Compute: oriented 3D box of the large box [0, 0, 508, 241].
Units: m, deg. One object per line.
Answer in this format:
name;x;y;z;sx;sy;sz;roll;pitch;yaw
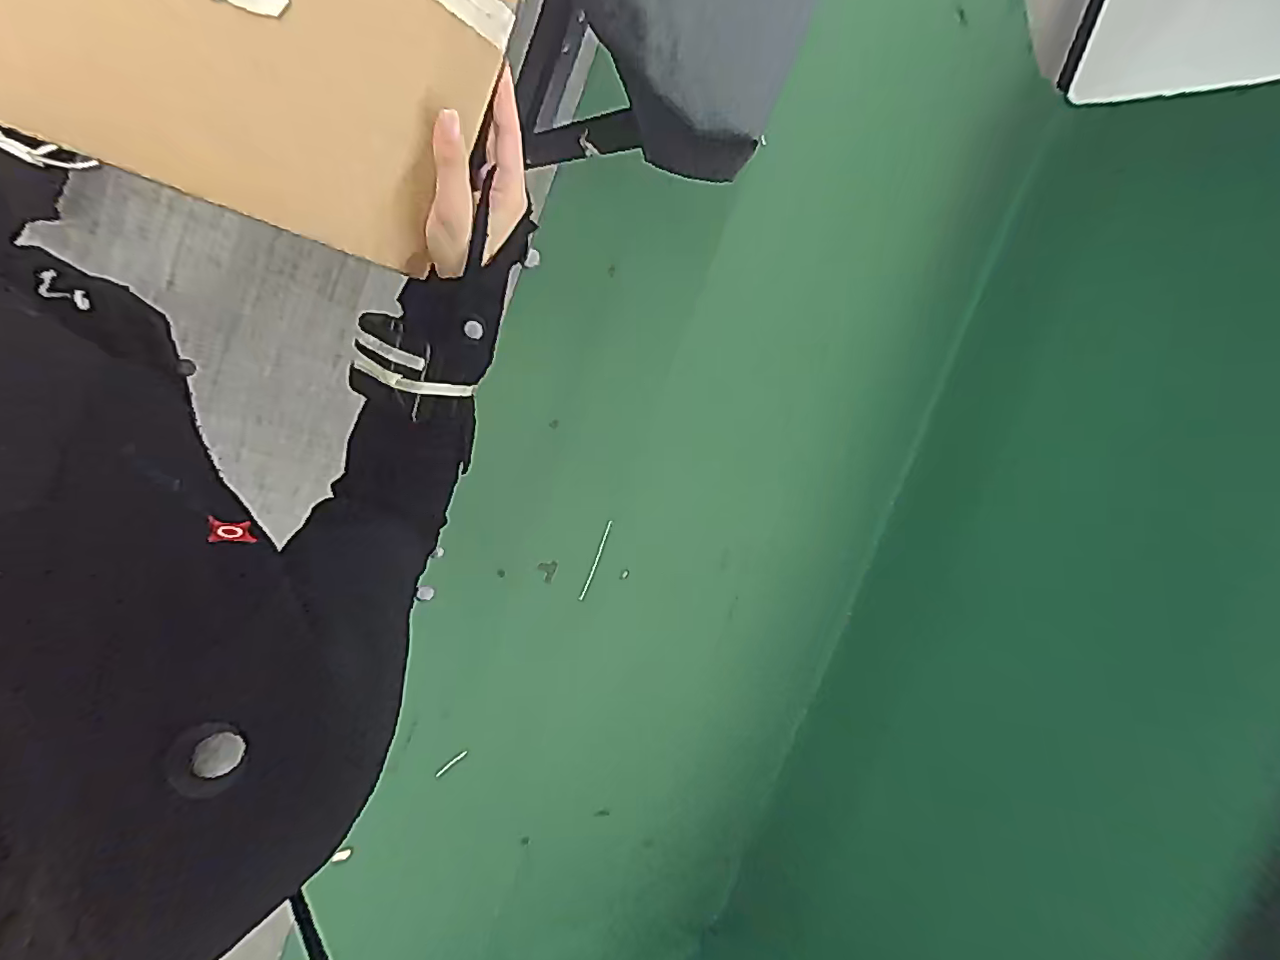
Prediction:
large box;-0.306;-0.384;0.274;0.408;0.320;0.320;6;119;-48
